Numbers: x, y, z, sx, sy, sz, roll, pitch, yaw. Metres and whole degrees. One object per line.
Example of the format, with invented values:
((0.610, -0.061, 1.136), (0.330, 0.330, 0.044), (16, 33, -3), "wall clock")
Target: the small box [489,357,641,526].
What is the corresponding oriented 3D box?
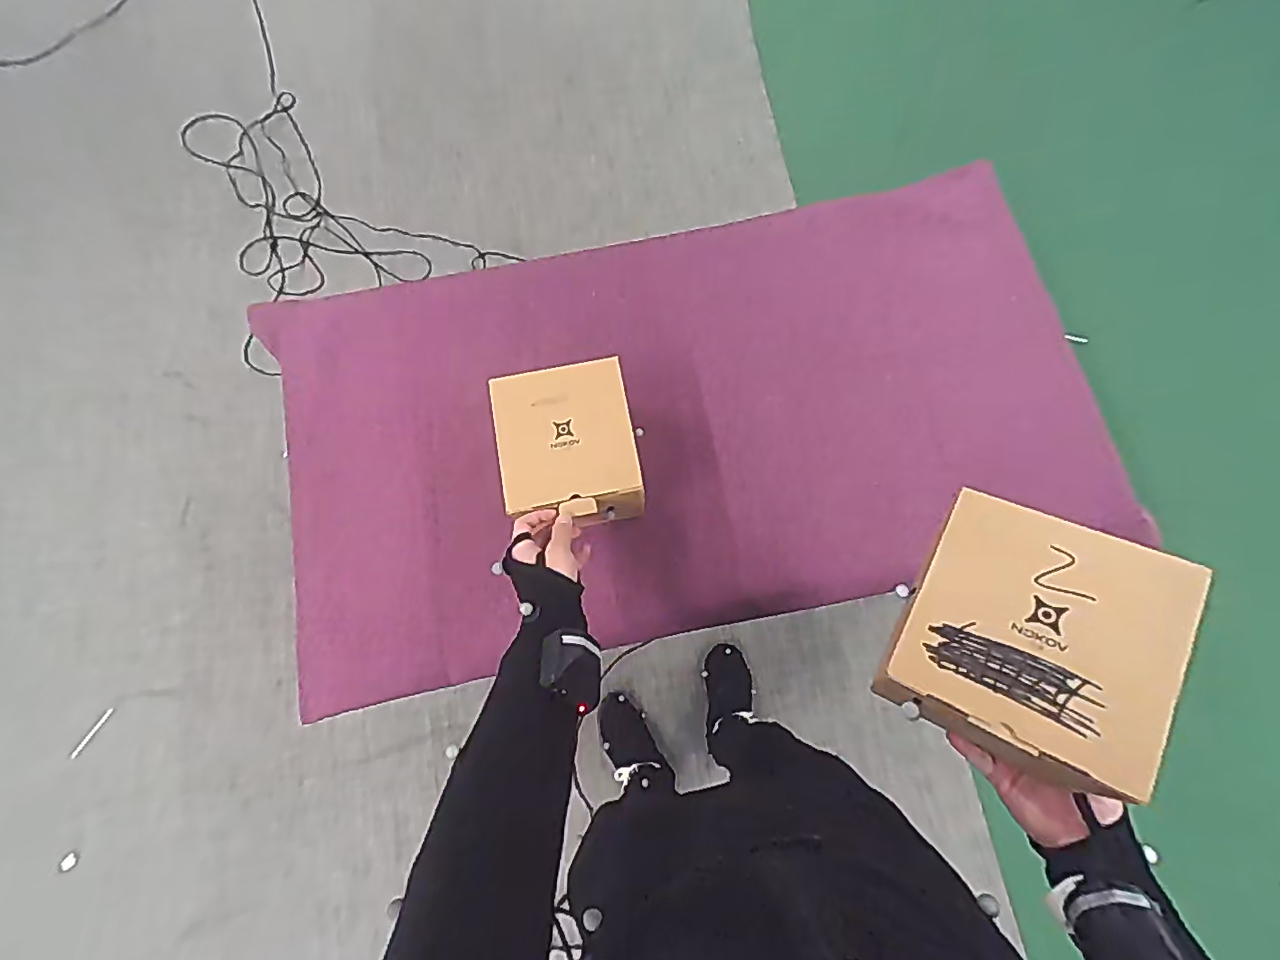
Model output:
((-0.093, -0.039, 0.735), (0.168, 0.176, 0.179), (-10, 75, -2), "small box")
